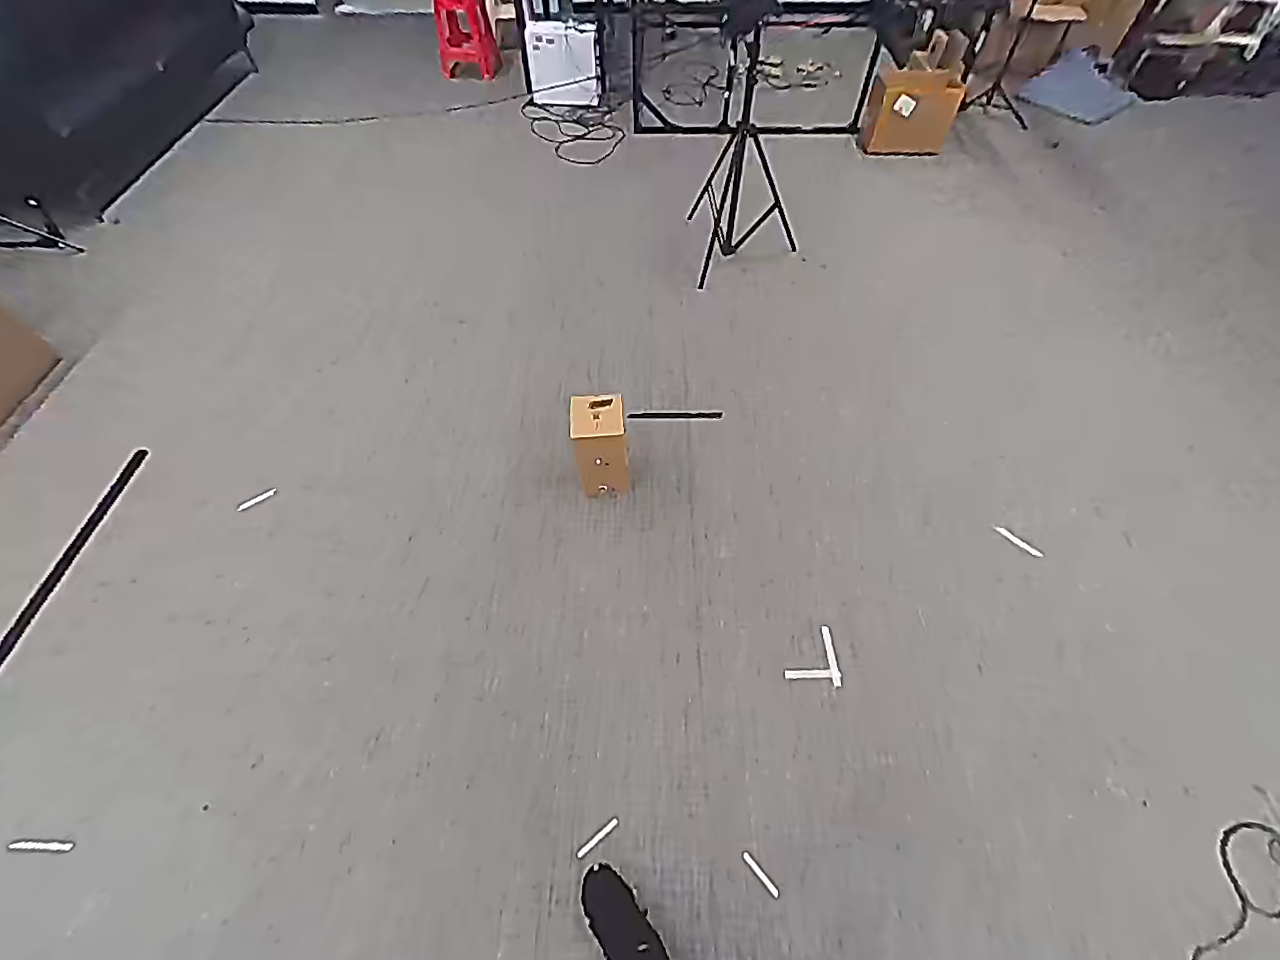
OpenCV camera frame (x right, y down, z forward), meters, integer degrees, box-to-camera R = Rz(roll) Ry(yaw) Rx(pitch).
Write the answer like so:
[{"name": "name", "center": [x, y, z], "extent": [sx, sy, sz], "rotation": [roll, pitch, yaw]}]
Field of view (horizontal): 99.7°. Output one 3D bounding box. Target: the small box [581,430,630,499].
[{"name": "small box", "center": [-0.122, -0.054, 1.894], "extent": [0.168, 0.176, 0.179], "rotation": [-5, 55, -2]}]

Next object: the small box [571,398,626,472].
[{"name": "small box", "center": [-0.131, -0.145, 1.757], "extent": [0.168, 0.176, 0.179], "rotation": [-3, 55, -1]}]
